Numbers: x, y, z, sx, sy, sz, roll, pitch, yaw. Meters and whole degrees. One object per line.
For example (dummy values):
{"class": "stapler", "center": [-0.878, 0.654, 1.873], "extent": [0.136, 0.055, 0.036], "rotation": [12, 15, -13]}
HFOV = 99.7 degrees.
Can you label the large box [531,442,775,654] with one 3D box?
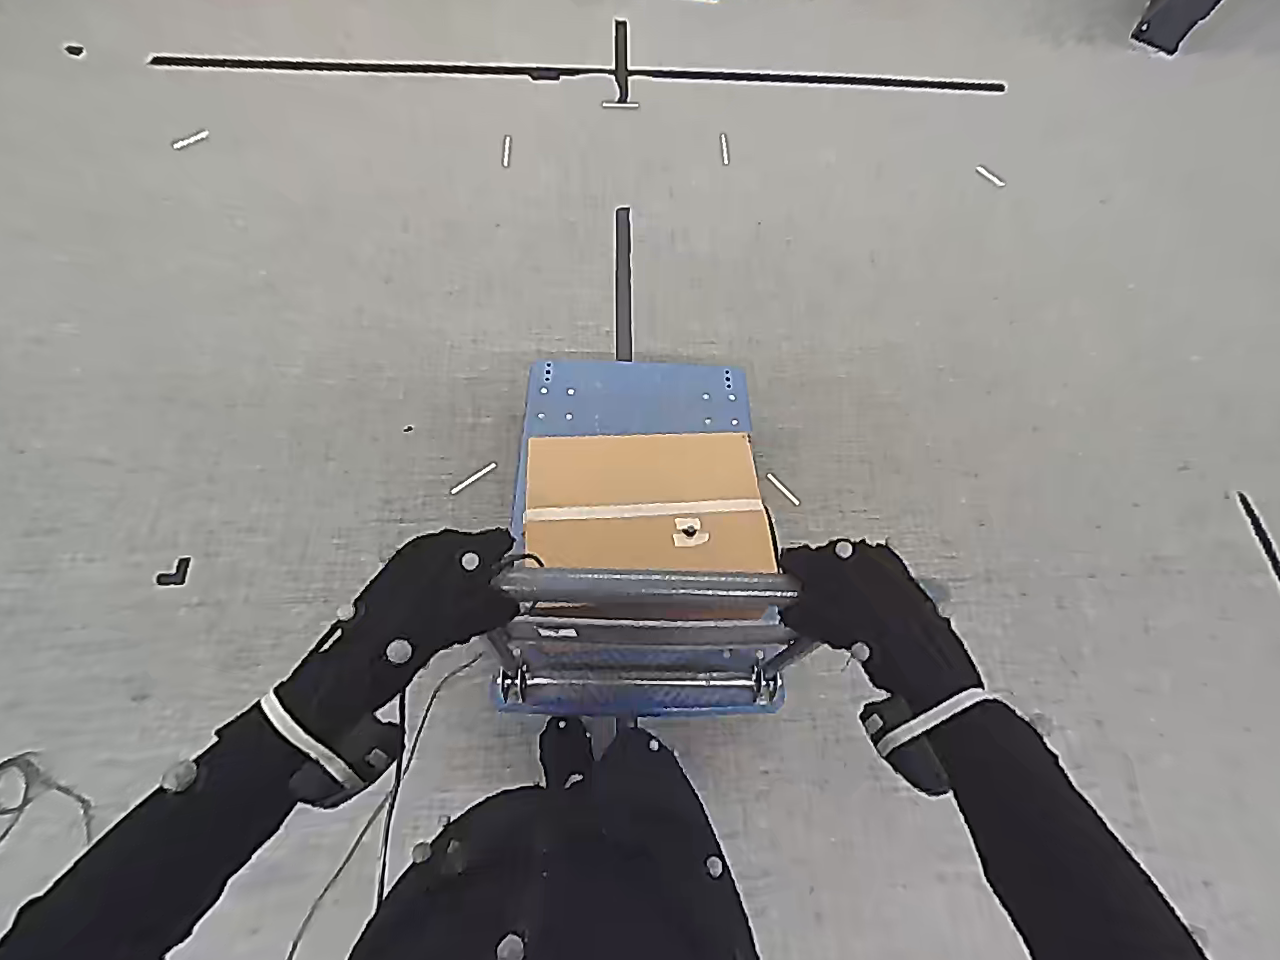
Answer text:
{"class": "large box", "center": [0.000, 0.140, 1.061], "extent": [0.408, 0.320, 0.320], "rotation": [-1, 61, -6]}
